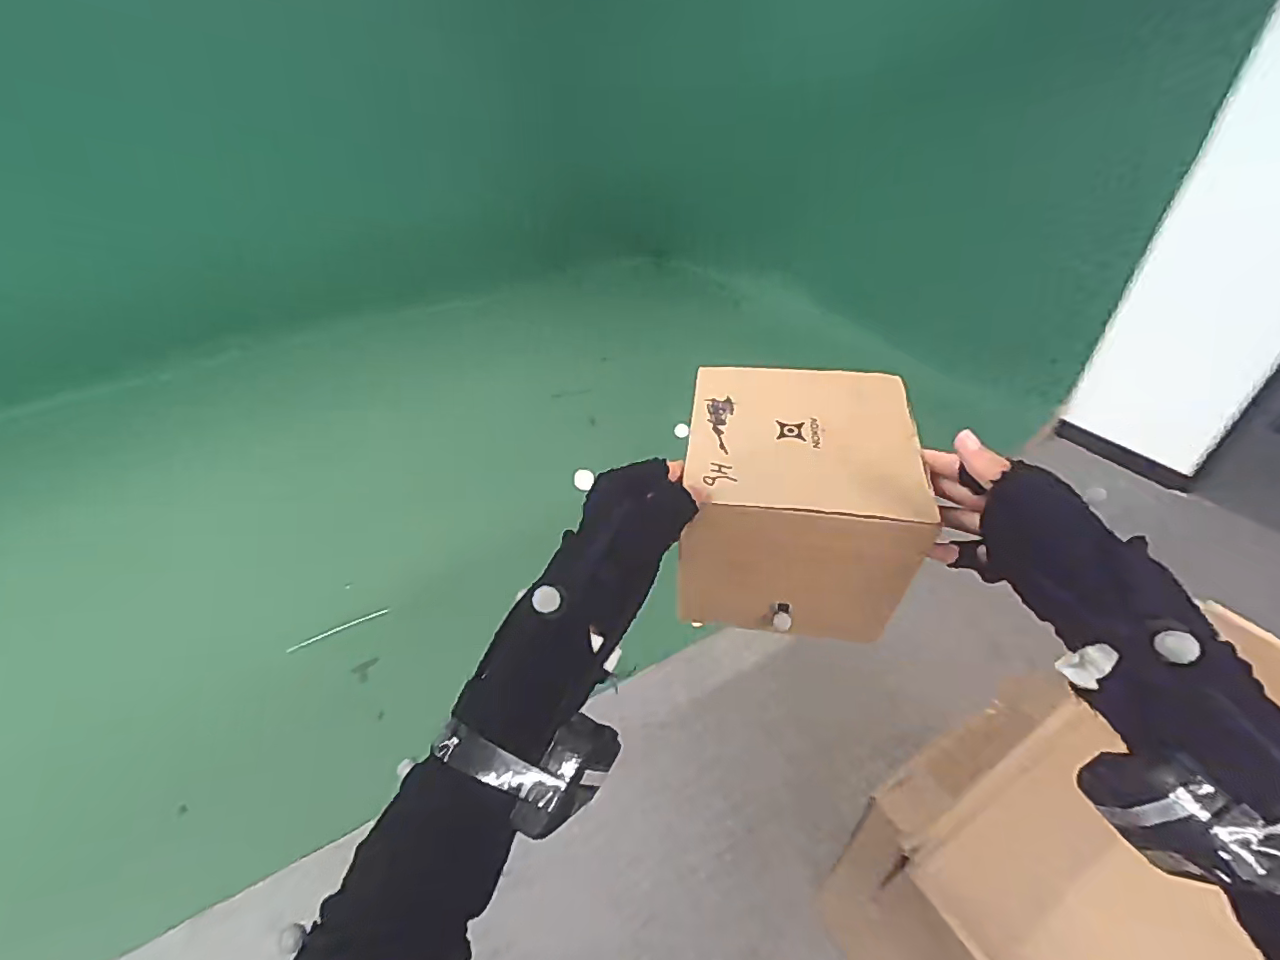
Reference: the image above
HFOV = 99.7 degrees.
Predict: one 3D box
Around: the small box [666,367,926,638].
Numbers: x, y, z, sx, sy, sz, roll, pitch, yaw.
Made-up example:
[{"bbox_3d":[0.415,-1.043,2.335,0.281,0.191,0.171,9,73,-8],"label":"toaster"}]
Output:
[{"bbox_3d":[0.120,0.022,0.478,0.179,0.176,0.168,5,46,8],"label":"small box"}]
